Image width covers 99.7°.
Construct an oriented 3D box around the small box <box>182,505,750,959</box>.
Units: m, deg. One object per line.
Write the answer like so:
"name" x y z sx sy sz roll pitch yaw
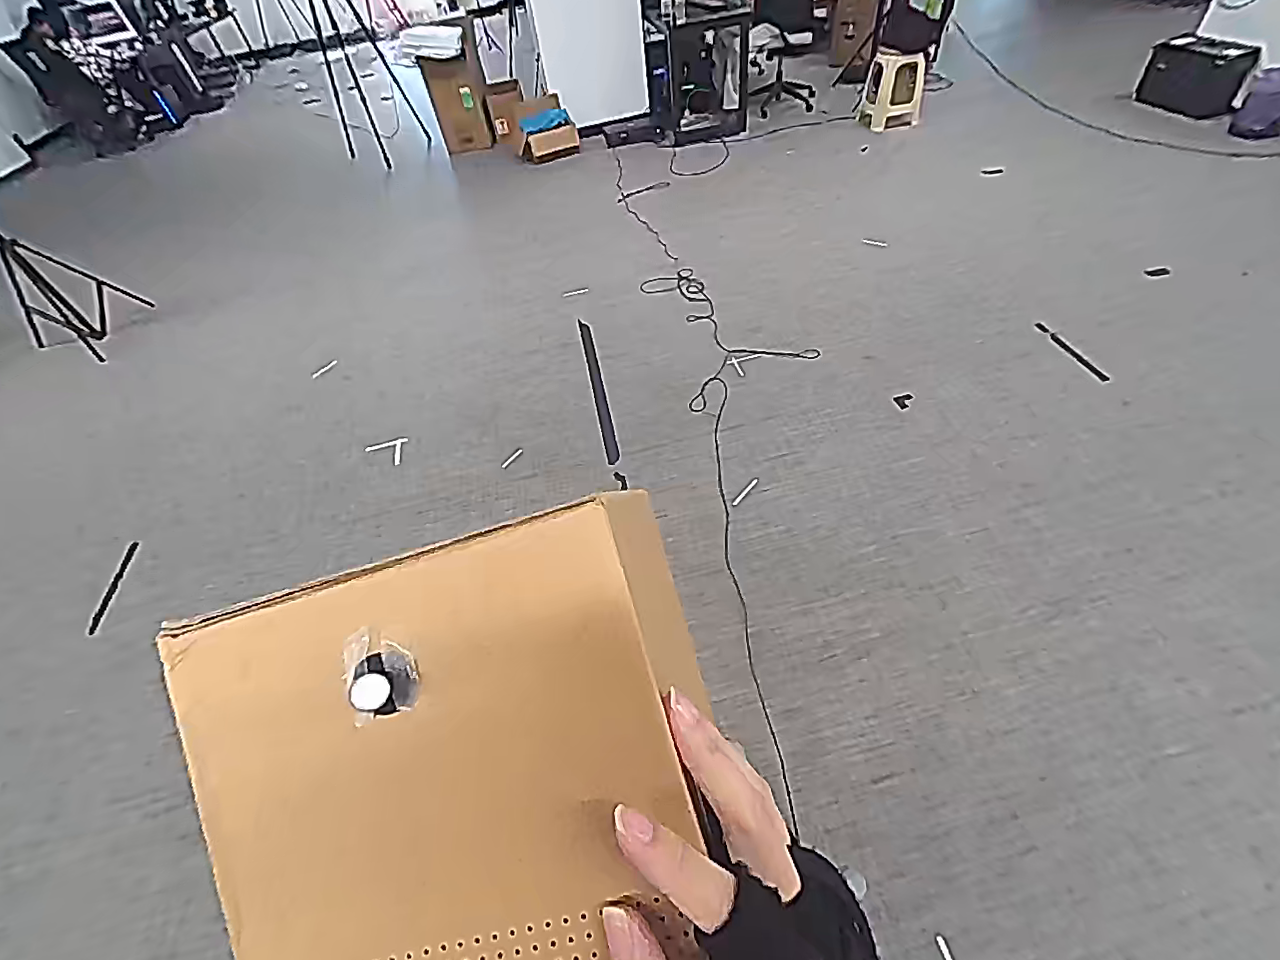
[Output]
"small box" -0.060 0.118 0.267 0.179 0.168 0.176 -17 88 6
